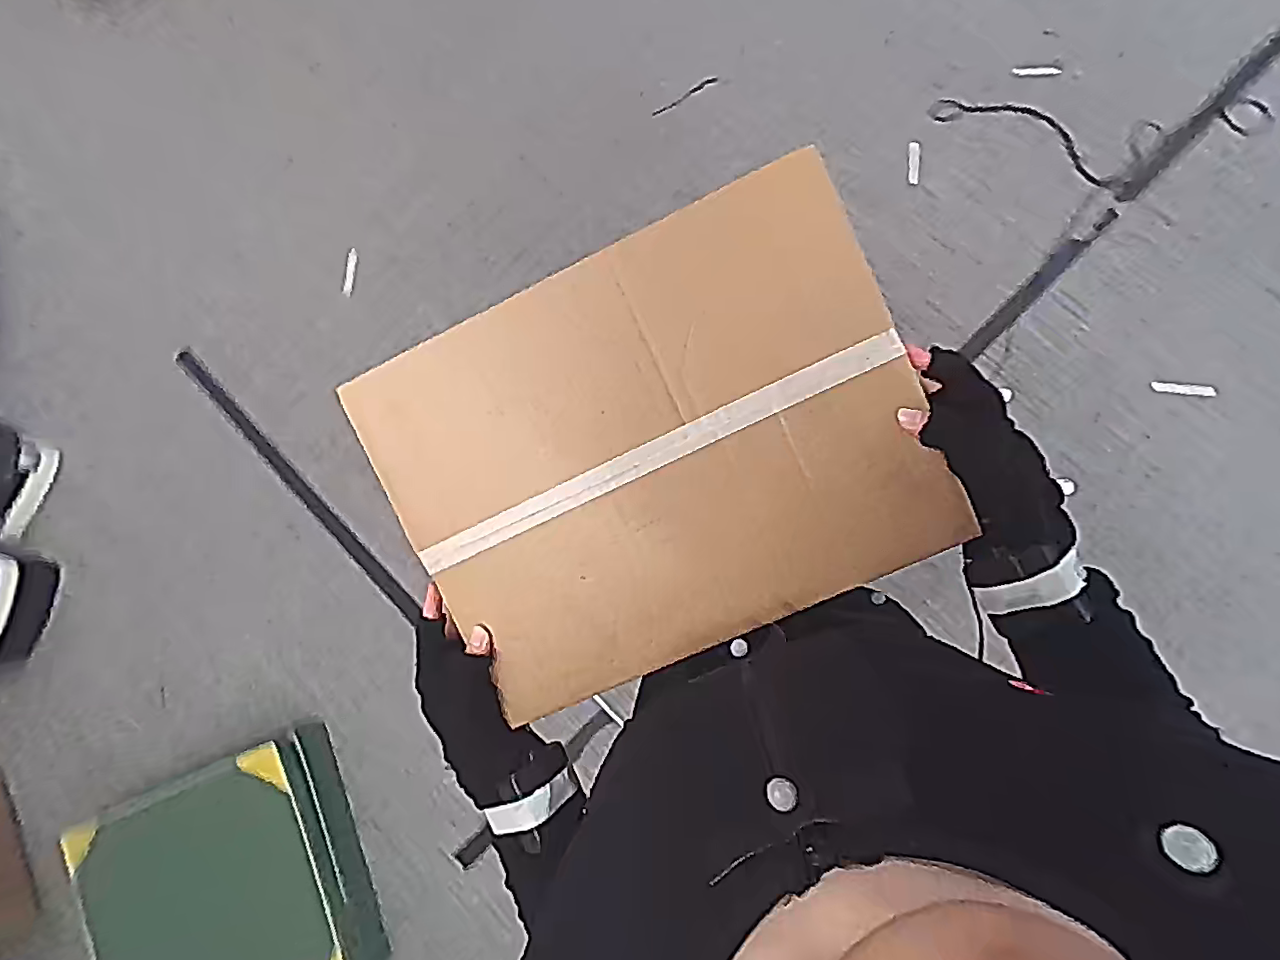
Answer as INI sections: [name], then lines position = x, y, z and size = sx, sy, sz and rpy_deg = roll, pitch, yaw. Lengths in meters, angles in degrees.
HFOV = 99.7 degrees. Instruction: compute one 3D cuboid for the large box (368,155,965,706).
[large box]
position = 0.024, -0.037, 0.578
size = 0.408, 0.320, 0.320
rpy_deg = -24, 94, 7
